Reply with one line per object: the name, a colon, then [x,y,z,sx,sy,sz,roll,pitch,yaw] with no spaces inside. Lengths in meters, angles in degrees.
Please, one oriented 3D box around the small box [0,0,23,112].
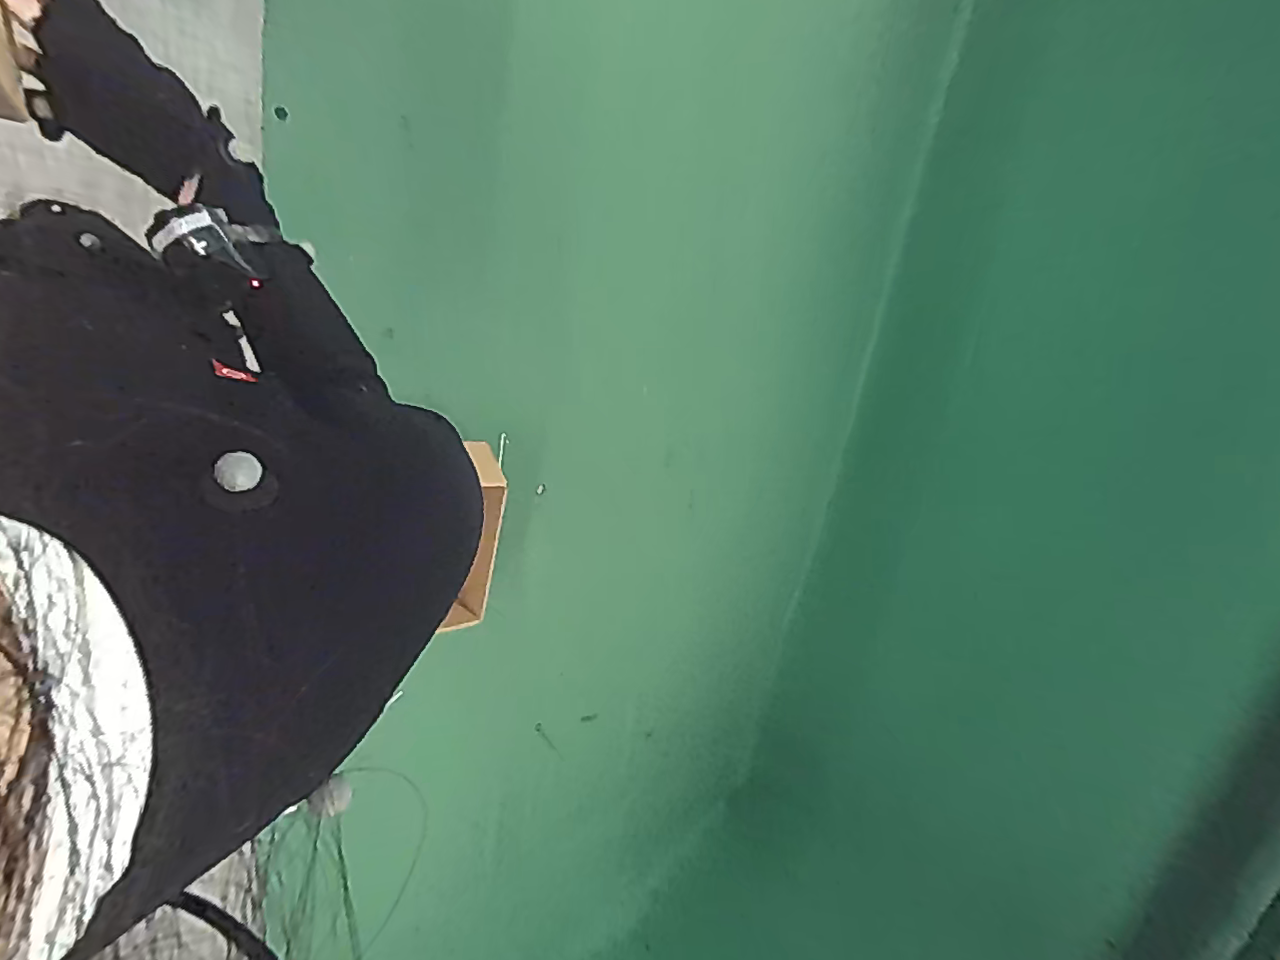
small box: [-0.414,-0.293,0.236,0.168,0.176,0.179,-10,112,-43]
